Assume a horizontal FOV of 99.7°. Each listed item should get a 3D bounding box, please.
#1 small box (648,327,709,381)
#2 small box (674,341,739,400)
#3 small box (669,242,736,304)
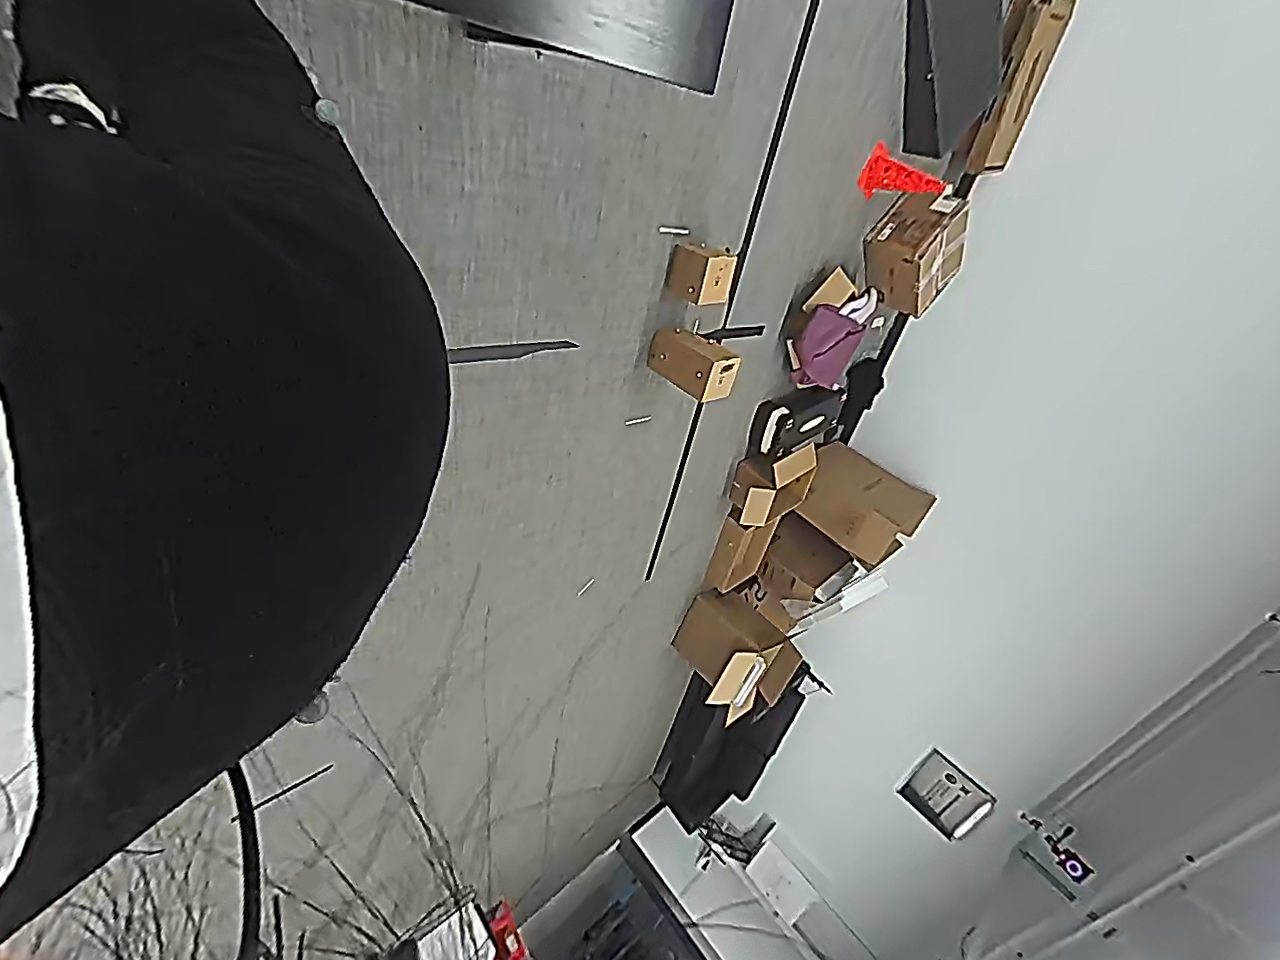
[{"bbox_3d":[0.158,-0.522,2.230,0.179,0.176,0.168,-16,134,-40],"label":"small box"},{"bbox_3d":[0.256,-0.438,2.124,0.168,0.176,0.179,-19,136,-39],"label":"small box"},{"bbox_3d":[0.231,-0.788,2.051,0.168,0.176,0.179,-21,136,-38],"label":"small box"}]
